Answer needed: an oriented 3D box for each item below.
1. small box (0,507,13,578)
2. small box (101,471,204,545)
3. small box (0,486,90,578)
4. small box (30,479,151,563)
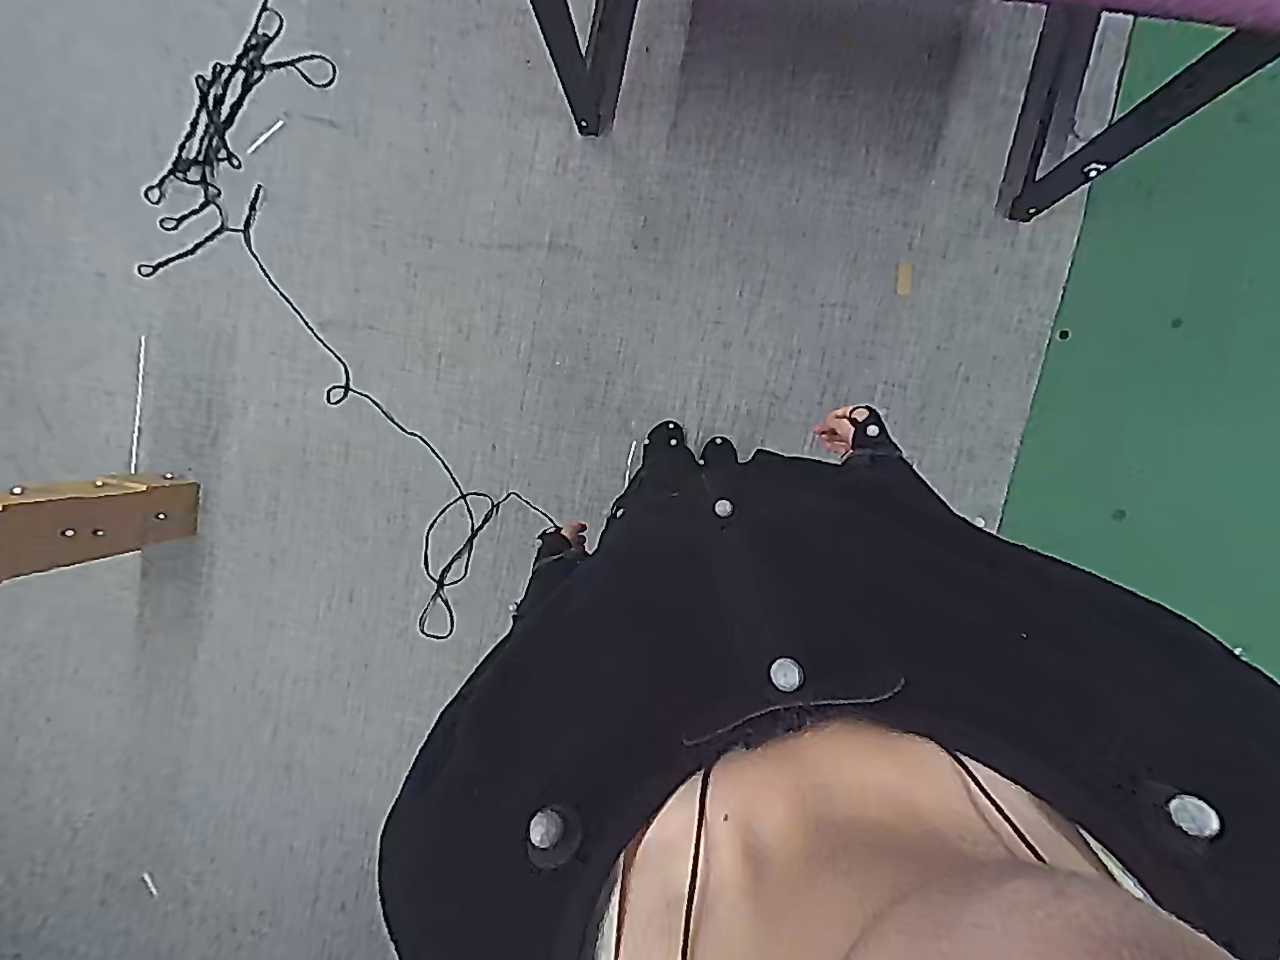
[{"bbox_3d":[-1.471,0.134,1.110,0.179,0.176,0.168,8,96,4],"label":"small box"},{"bbox_3d":[-1.436,0.077,1.595,0.168,0.176,0.179,11,95,5],"label":"small box"},{"bbox_3d":[-1.456,0.114,1.271,0.168,0.176,0.179,9,95,5],"label":"small box"},{"bbox_3d":[-1.455,0.101,1.434,0.168,0.176,0.179,11,96,4],"label":"small box"}]
